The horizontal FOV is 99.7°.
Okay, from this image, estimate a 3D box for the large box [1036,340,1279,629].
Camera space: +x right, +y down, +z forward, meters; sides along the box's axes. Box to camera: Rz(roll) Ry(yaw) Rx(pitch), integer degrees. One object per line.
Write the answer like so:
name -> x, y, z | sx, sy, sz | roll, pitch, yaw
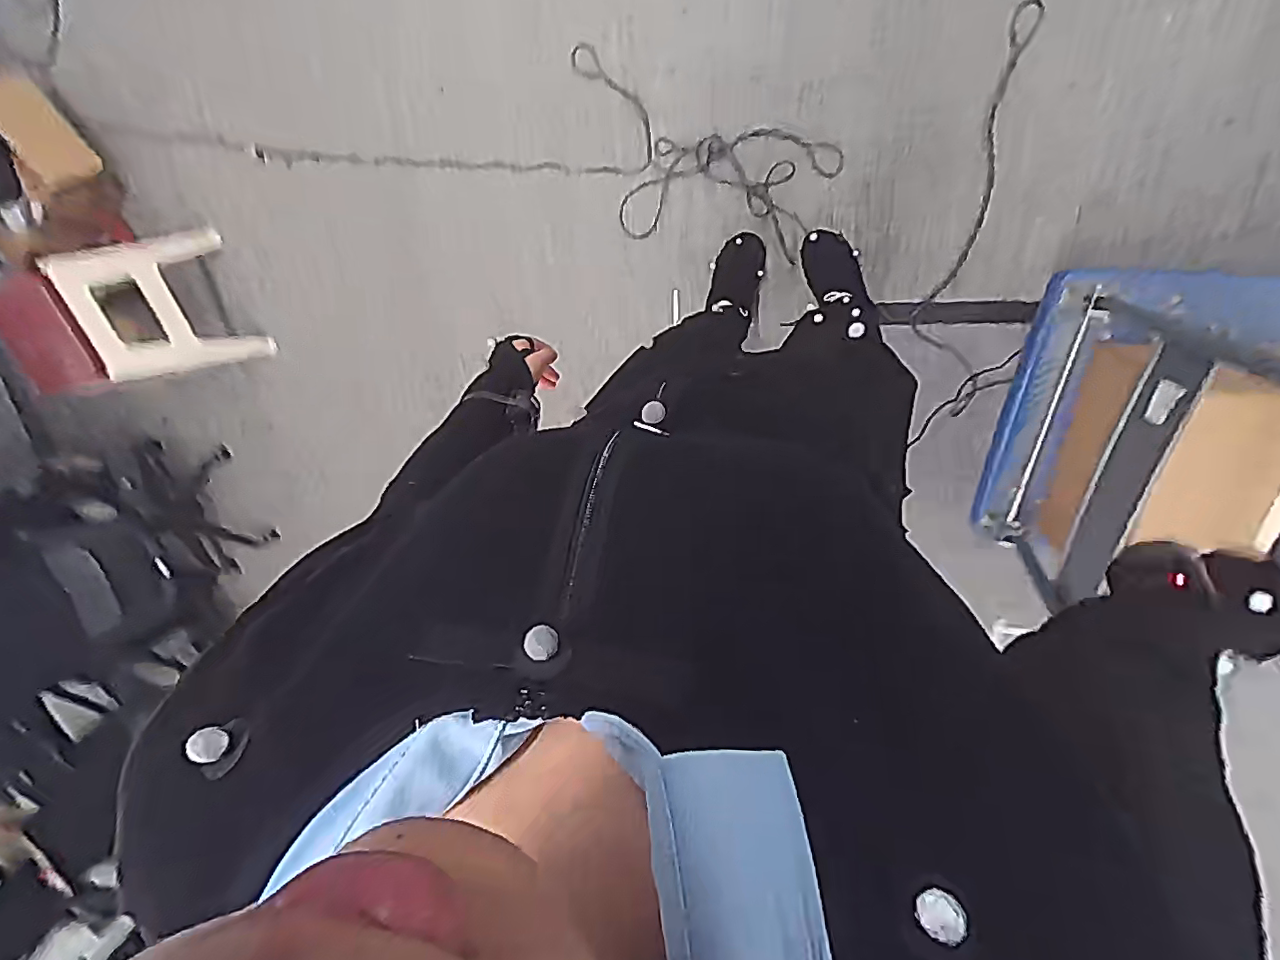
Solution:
large box -> 0.965, -0.010, 0.944 | 0.320, 0.320, 0.408 | 5, 118, 17
